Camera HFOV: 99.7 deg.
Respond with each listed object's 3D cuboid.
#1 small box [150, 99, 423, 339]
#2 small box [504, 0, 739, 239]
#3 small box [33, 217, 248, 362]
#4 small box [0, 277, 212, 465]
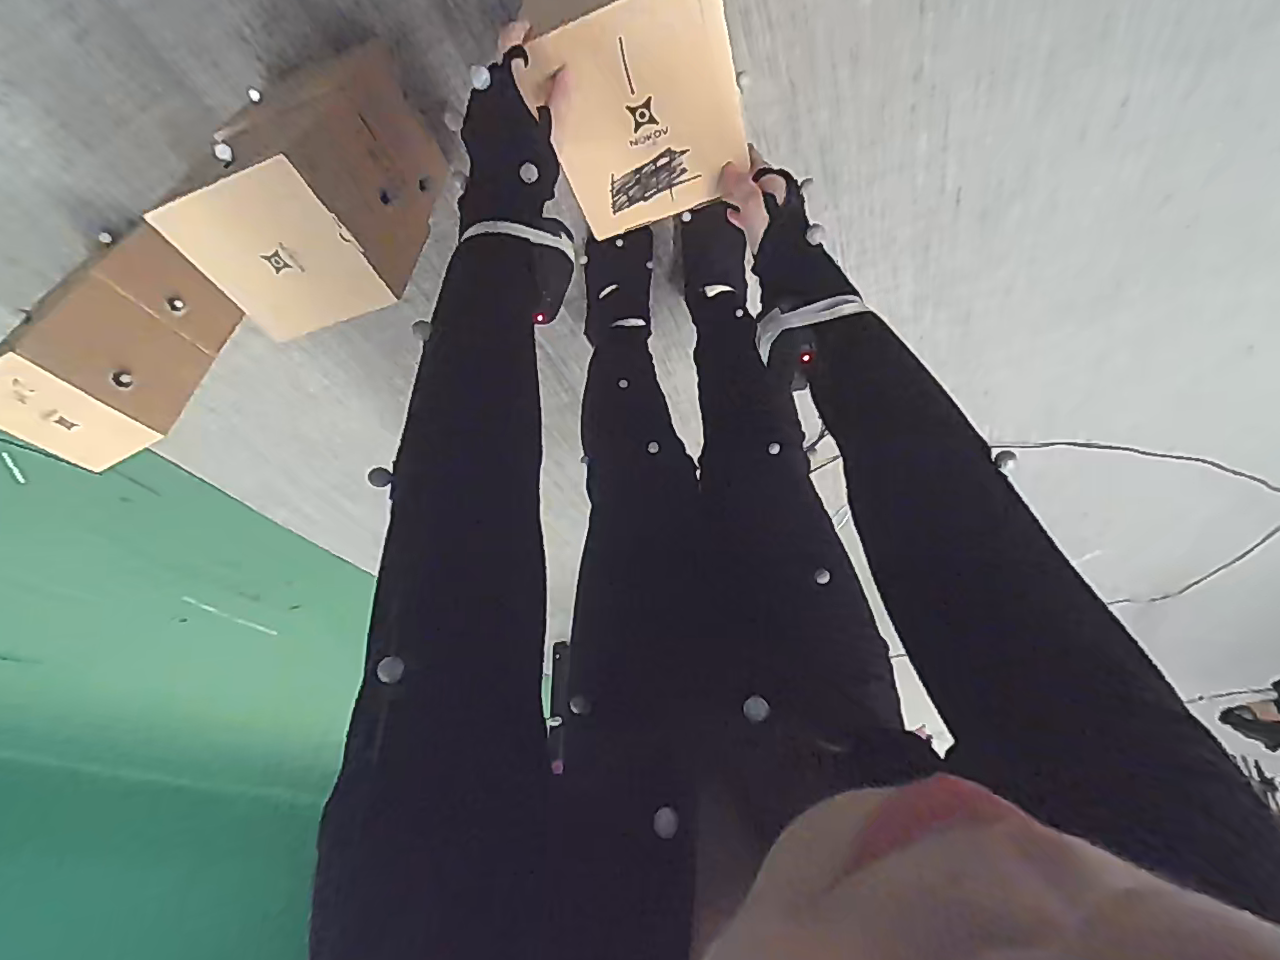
[{"bbox_3d":[-0.385,-0.299,0.627,0.179,0.176,0.168,-13,140,13],"label":"small box"},{"bbox_3d":[-0.006,-0.377,0.521,0.168,0.176,0.179,-12,145,16],"label":"small box"},{"bbox_3d":[-0.790,-0.287,0.884,0.168,0.176,0.179,-17,139,17],"label":"small box"},{"bbox_3d":[-0.784,-0.155,0.786,0.168,0.176,0.179,-19,139,17],"label":"small box"}]
